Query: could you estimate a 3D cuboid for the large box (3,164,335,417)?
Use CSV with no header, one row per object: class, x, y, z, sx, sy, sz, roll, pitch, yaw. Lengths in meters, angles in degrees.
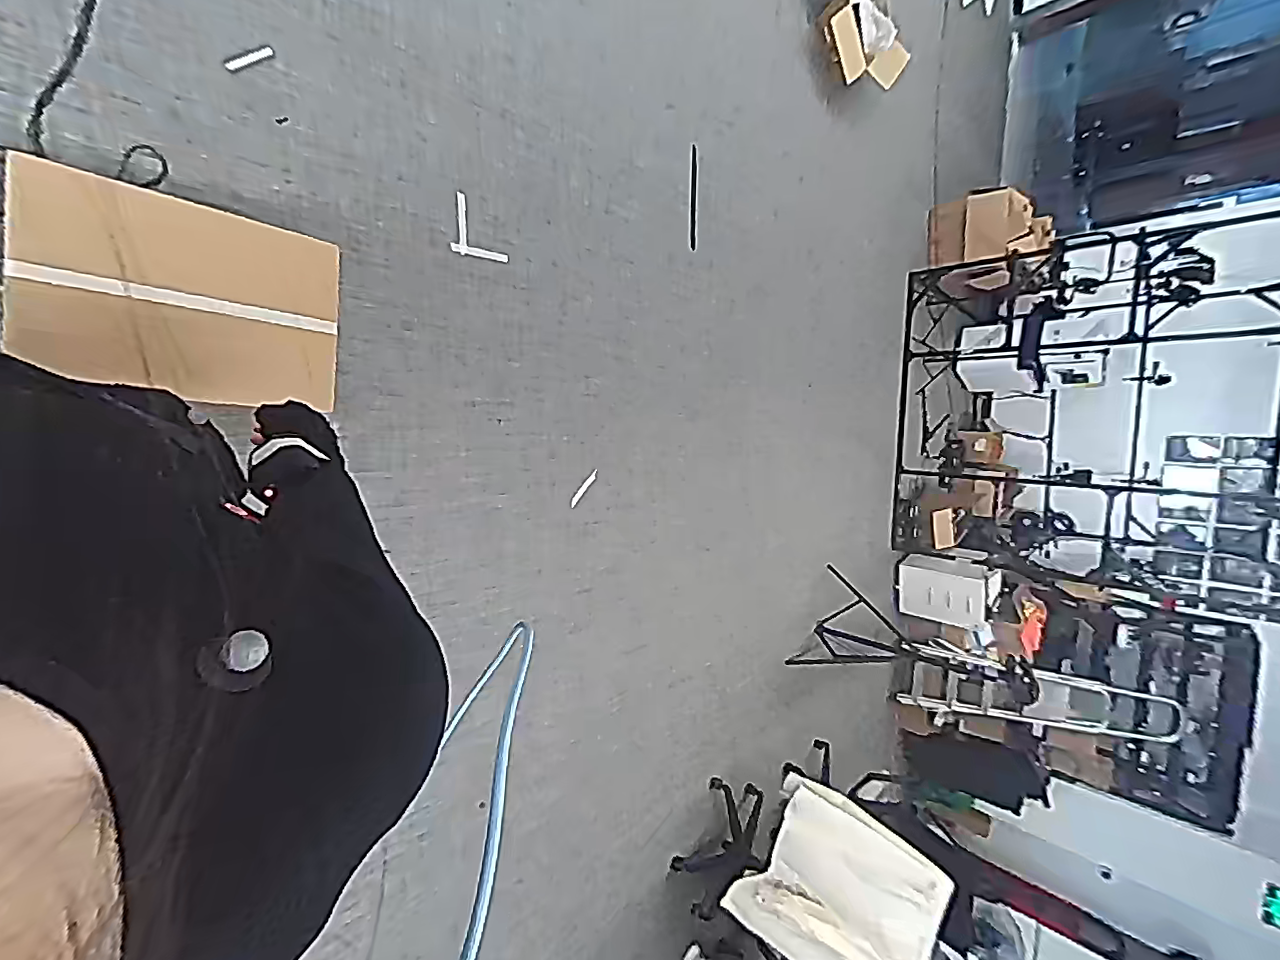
large box,-0.817,-0.282,0.965,0.408,0.320,0.320,1,94,-46
